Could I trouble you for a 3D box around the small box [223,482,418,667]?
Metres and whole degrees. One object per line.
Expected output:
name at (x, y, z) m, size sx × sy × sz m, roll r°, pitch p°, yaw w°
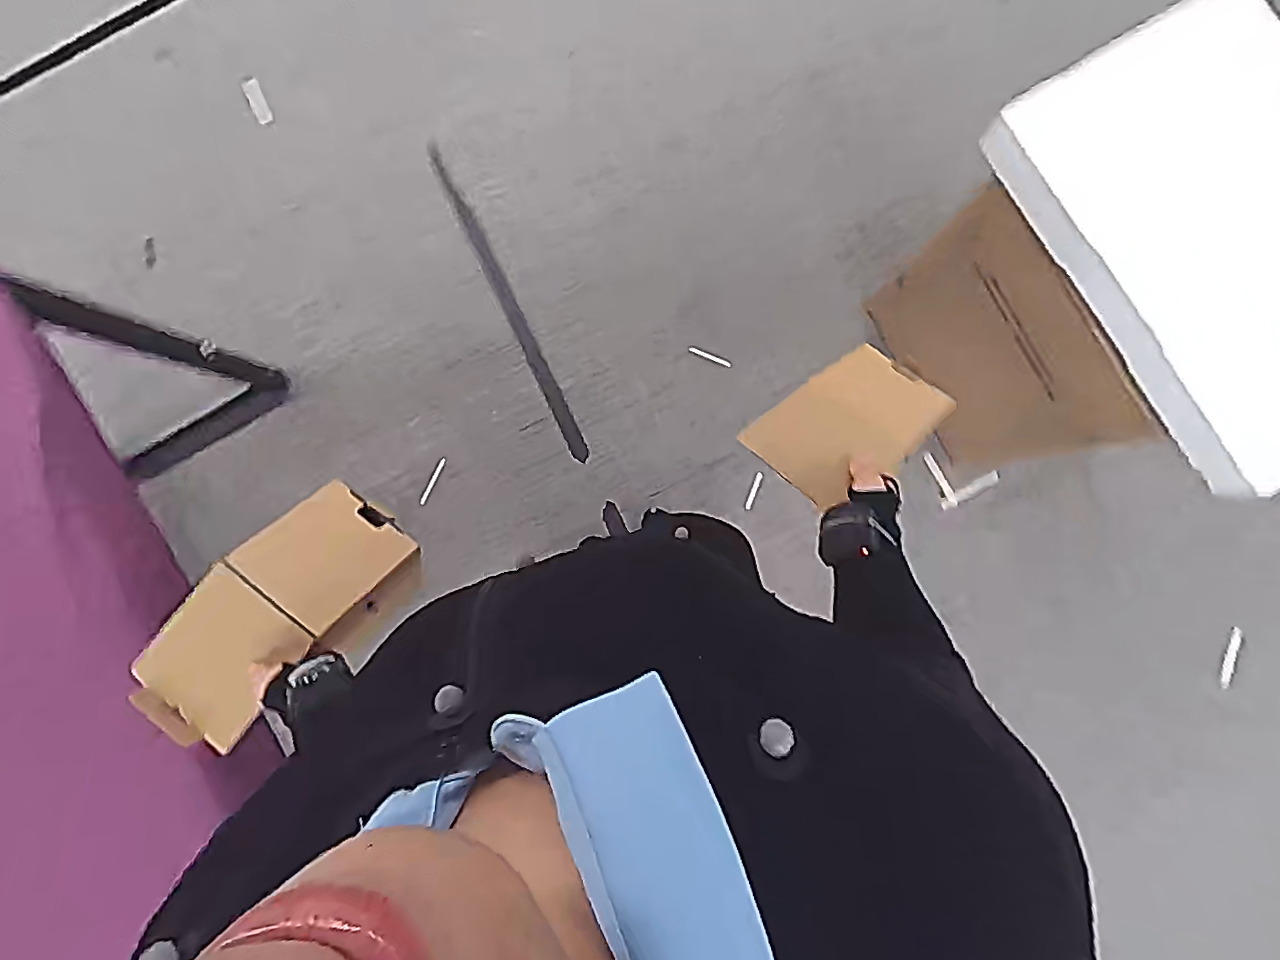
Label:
small box at (-0.447, 0.144, 0.793) m, size 0.168 × 0.176 × 0.179 m, roll 38°, pitch 53°, yaw 5°
